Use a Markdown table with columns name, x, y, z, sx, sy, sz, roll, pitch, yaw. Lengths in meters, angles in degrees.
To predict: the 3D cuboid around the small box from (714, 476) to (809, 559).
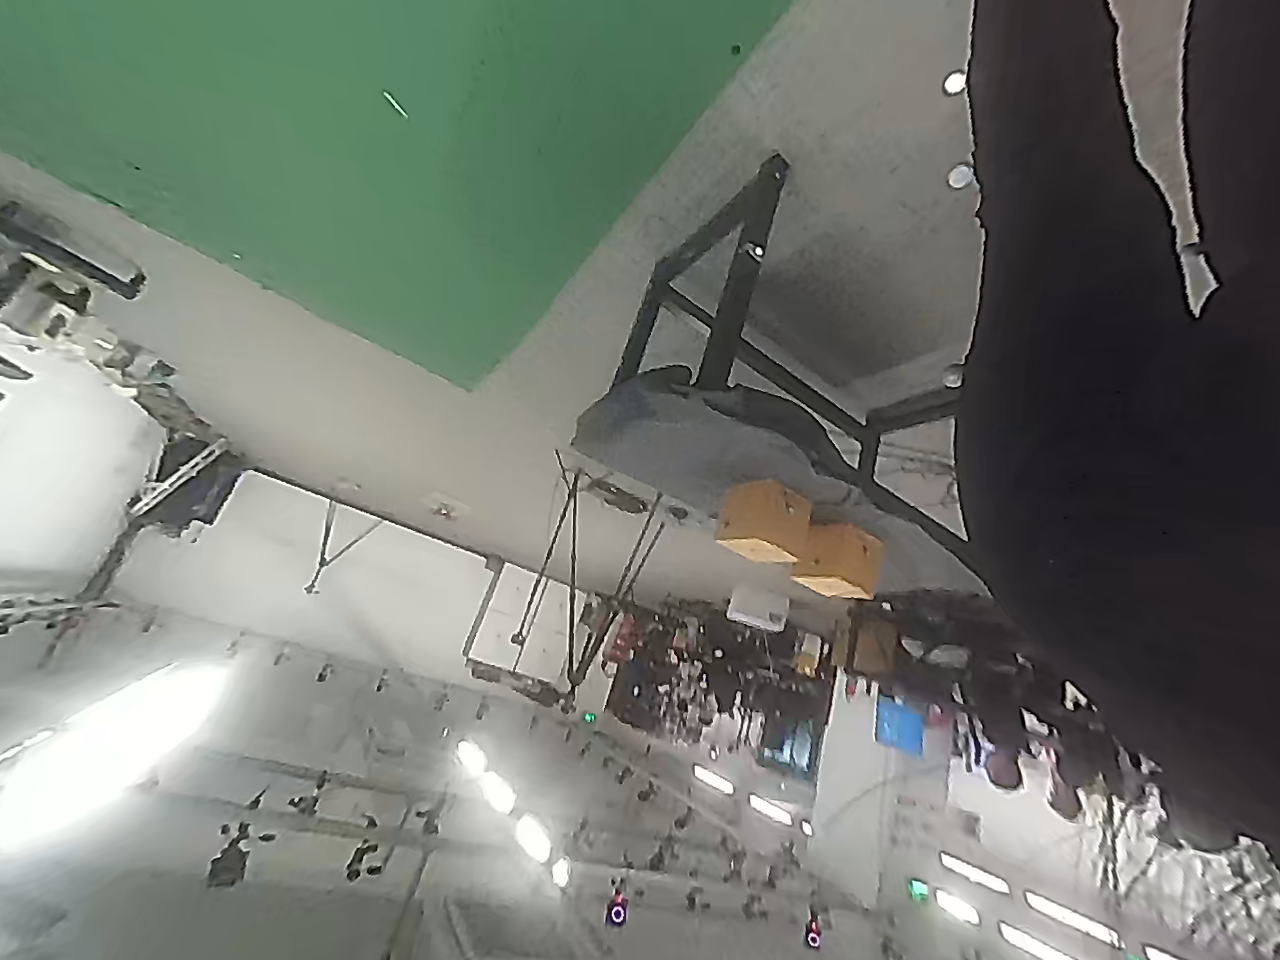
| name | x | y | z | sx | sy | sz | roll | pitch | yaw |
| --- | --- | --- | --- | --- | --- | --- | --- | --- | --- |
| small box | 0.330 | 0.104 | 1.455 | 0.168 | 0.176 | 0.179 | 26 | 159 | -26 |

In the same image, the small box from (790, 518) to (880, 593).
| name | x | y | z | sx | sy | sz | roll | pitch | yaw |
| --- | --- | --- | --- | --- | --- | --- | --- | --- | --- |
| small box | 0.573 | 0.221 | 1.581 | 0.168 | 0.176 | 0.179 | 27 | 158 | -25 |
